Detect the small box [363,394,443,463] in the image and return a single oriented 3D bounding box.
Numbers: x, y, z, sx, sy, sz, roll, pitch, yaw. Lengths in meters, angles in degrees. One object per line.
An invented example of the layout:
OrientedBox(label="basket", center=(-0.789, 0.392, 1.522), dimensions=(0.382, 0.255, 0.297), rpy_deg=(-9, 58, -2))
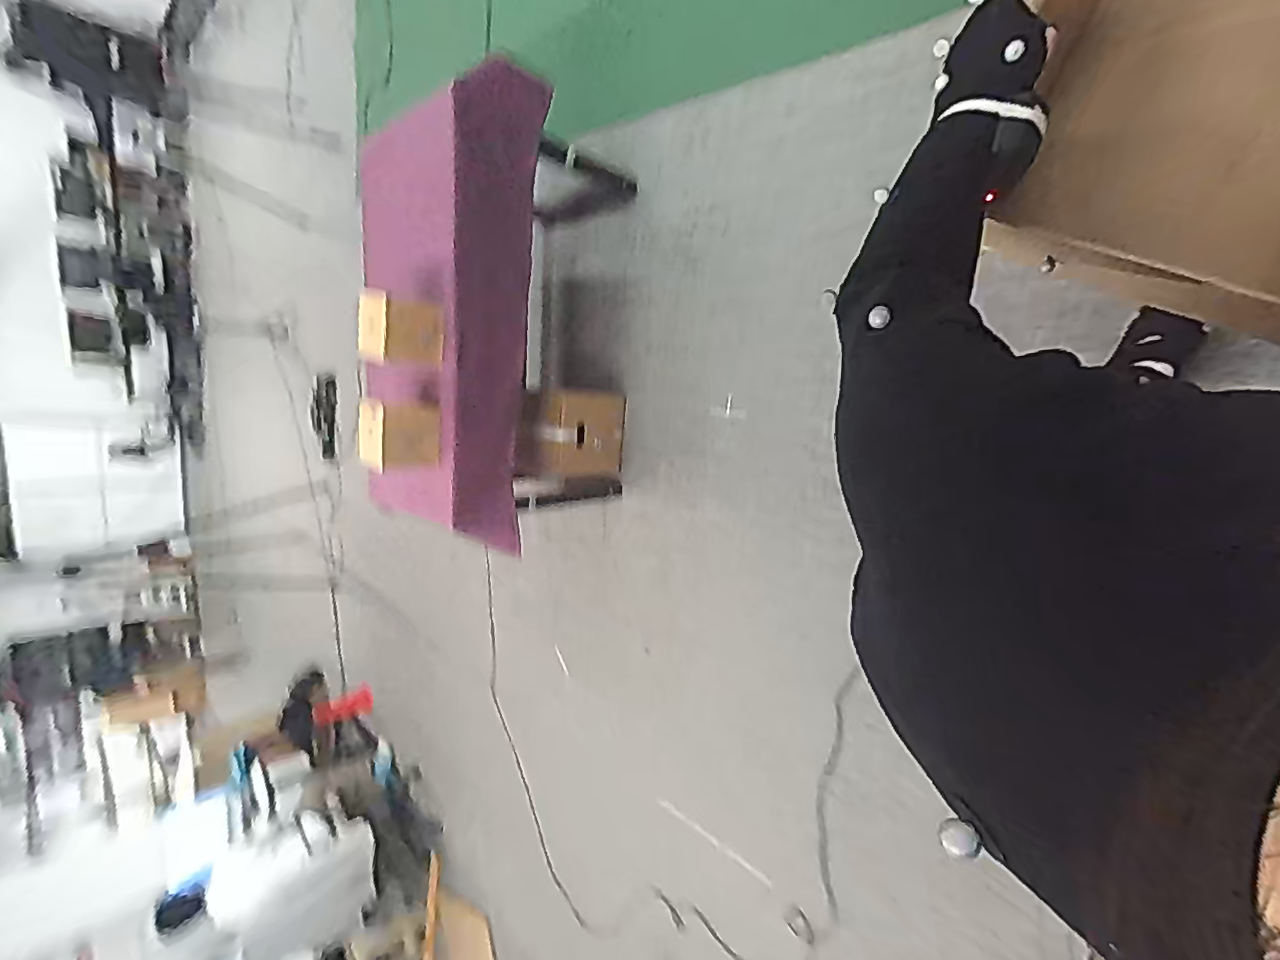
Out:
OrientedBox(label="small box", center=(-0.694, -0.156, 1.587), dimensions=(0.168, 0.176, 0.179), rpy_deg=(16, 105, 40))

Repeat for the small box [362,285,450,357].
OrientedBox(label="small box", center=(-0.664, -0.448, 1.534), dimensions=(0.179, 0.176, 0.168), rpy_deg=(22, 109, 38))
